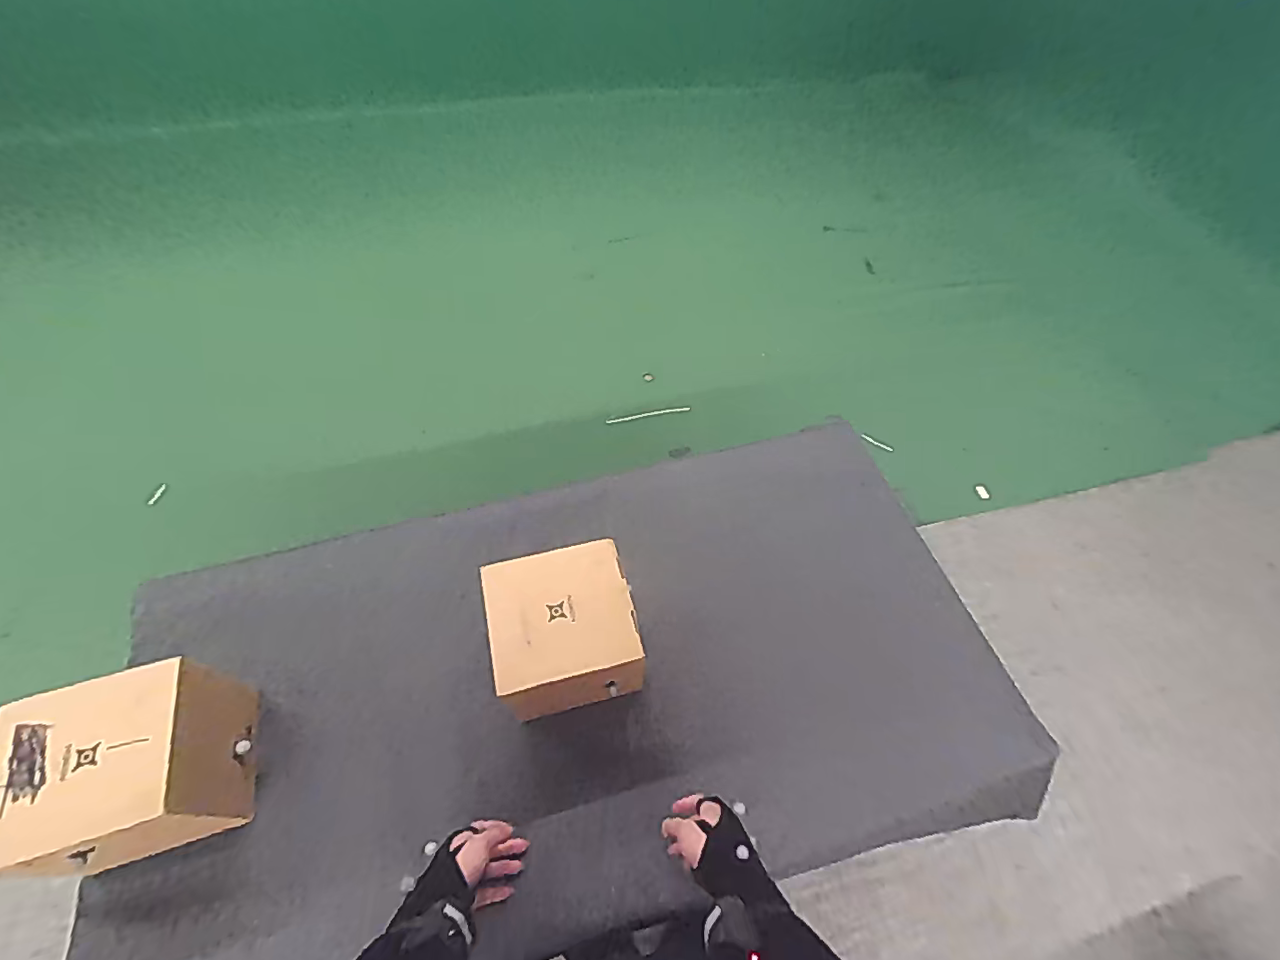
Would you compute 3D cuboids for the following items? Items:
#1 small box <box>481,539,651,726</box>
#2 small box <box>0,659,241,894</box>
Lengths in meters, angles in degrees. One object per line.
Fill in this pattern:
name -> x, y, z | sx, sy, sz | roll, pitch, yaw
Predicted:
small box -> -0.097, 0.202, 0.707 | 0.179, 0.176, 0.168 | -12, 57, -12
small box -> -0.570, 0.317, 0.577 | 0.179, 0.176, 0.168 | -13, 59, -15
